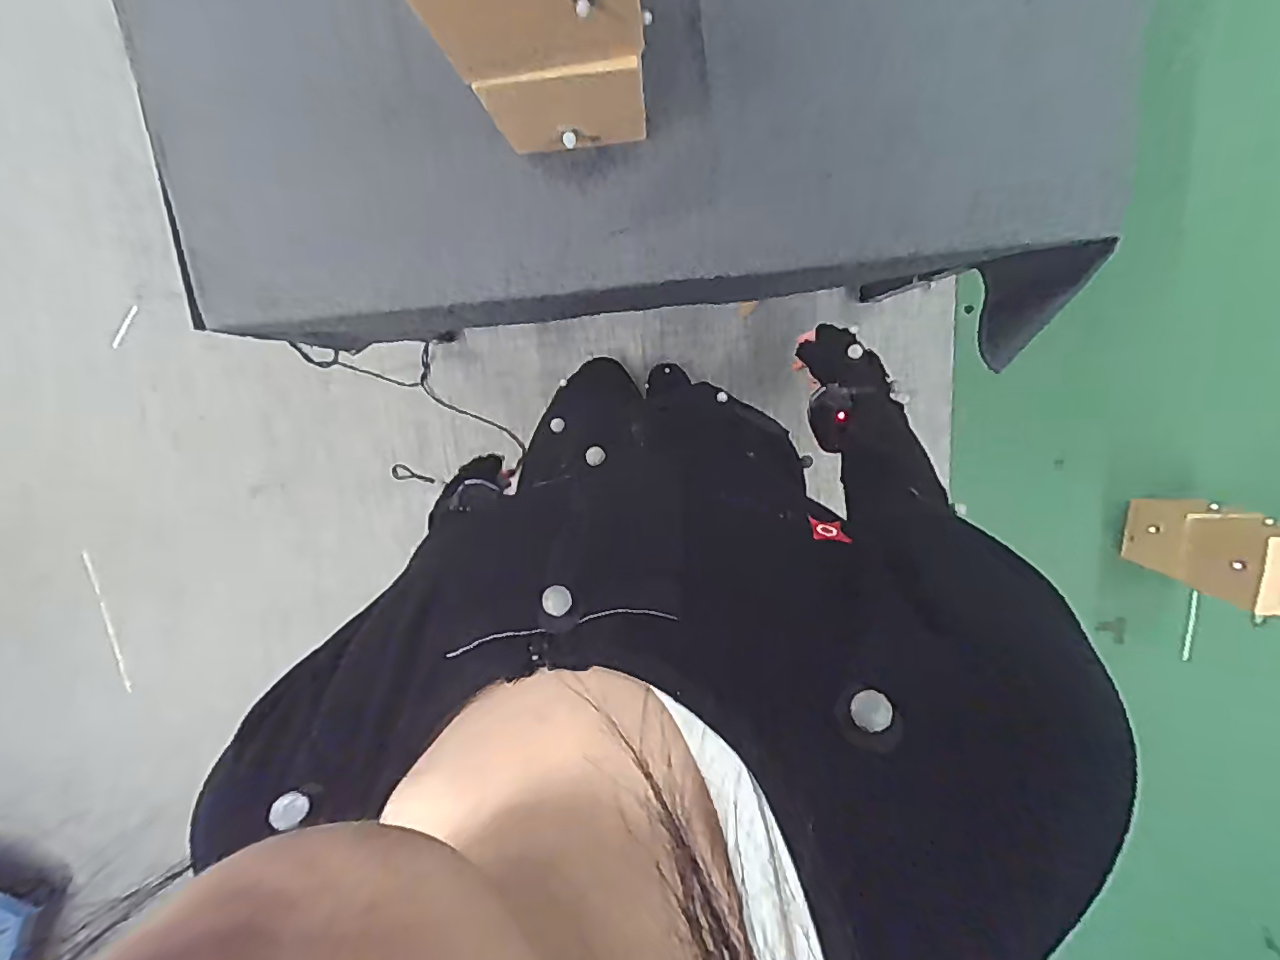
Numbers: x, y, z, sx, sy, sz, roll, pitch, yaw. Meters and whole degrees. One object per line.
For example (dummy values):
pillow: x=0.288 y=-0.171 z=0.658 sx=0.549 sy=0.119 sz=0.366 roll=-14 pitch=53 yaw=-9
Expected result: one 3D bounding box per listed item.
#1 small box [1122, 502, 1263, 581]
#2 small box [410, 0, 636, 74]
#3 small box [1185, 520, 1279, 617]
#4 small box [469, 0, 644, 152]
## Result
small box: x=1.376 y=0.152 z=1.361 sx=0.179 sy=0.176 sz=0.168 roll=1 pitch=100 yaw=2
small box: x=-0.097 y=-0.456 z=0.416 sx=0.179 sy=0.176 sz=0.168 roll=-6 pitch=99 yaw=4
small box: x=1.379 y=0.190 z=1.201 sx=0.168 sy=0.176 sz=0.179 roll=0 pitch=101 yaw=3
small box: x=-0.084 y=-0.483 z=0.576 sx=0.168 sy=0.176 sz=0.179 roll=-4 pitch=101 yaw=4
